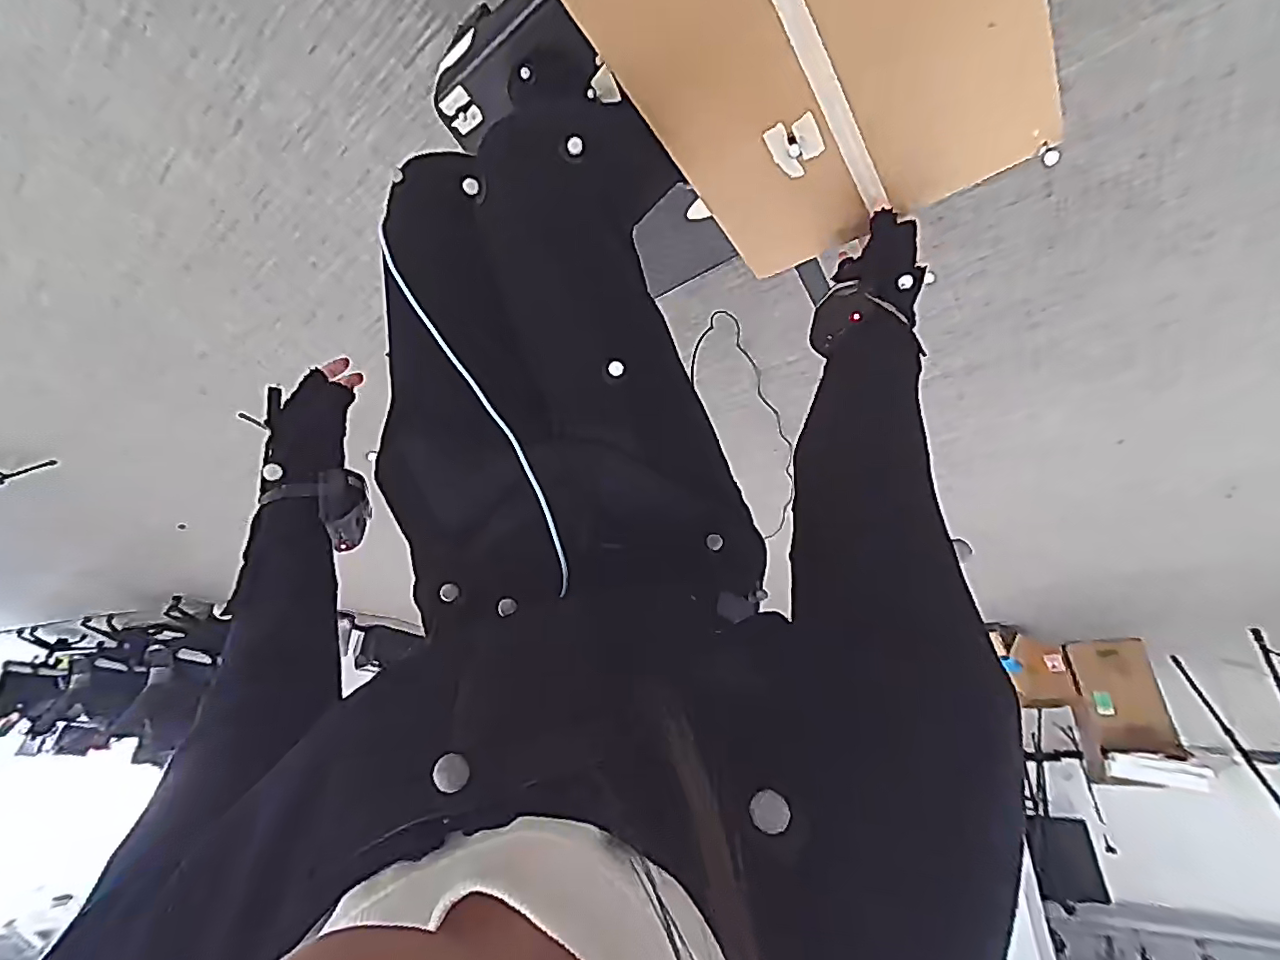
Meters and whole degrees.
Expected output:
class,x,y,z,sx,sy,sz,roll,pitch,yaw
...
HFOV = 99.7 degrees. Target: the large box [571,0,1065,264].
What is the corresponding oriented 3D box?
class,x,y,z,sx,sy,sz,roll,pitch,yaw
large box,0.169,-0.513,0.526,0.320,0.320,0.408,-12,148,38
